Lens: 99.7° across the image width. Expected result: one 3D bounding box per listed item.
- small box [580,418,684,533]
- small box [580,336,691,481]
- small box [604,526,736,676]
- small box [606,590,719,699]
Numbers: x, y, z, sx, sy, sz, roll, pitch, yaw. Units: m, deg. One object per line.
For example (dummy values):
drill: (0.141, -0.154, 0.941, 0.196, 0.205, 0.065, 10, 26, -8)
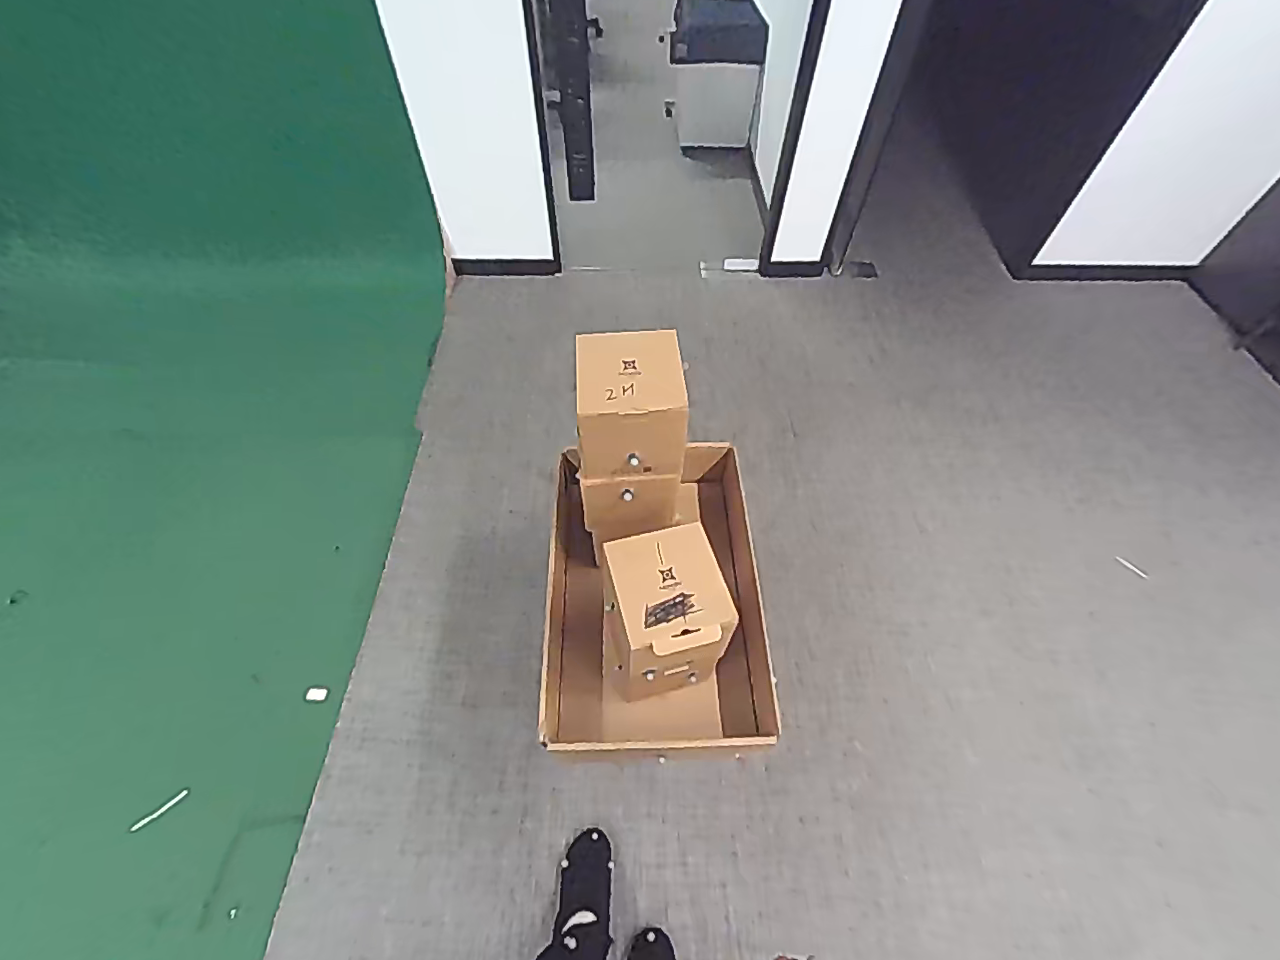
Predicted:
small box: (-0.019, -0.014, 1.031, 0.179, 0.176, 0.168, -5, 55, -3)
small box: (-0.011, -0.117, 0.902, 0.168, 0.176, 0.179, -3, 56, -2)
small box: (0.041, 0.204, 0.880, 0.168, 0.176, 0.179, -11, 55, -10)
small box: (0.036, 0.296, 1.015, 0.168, 0.176, 0.179, -11, 55, -10)
